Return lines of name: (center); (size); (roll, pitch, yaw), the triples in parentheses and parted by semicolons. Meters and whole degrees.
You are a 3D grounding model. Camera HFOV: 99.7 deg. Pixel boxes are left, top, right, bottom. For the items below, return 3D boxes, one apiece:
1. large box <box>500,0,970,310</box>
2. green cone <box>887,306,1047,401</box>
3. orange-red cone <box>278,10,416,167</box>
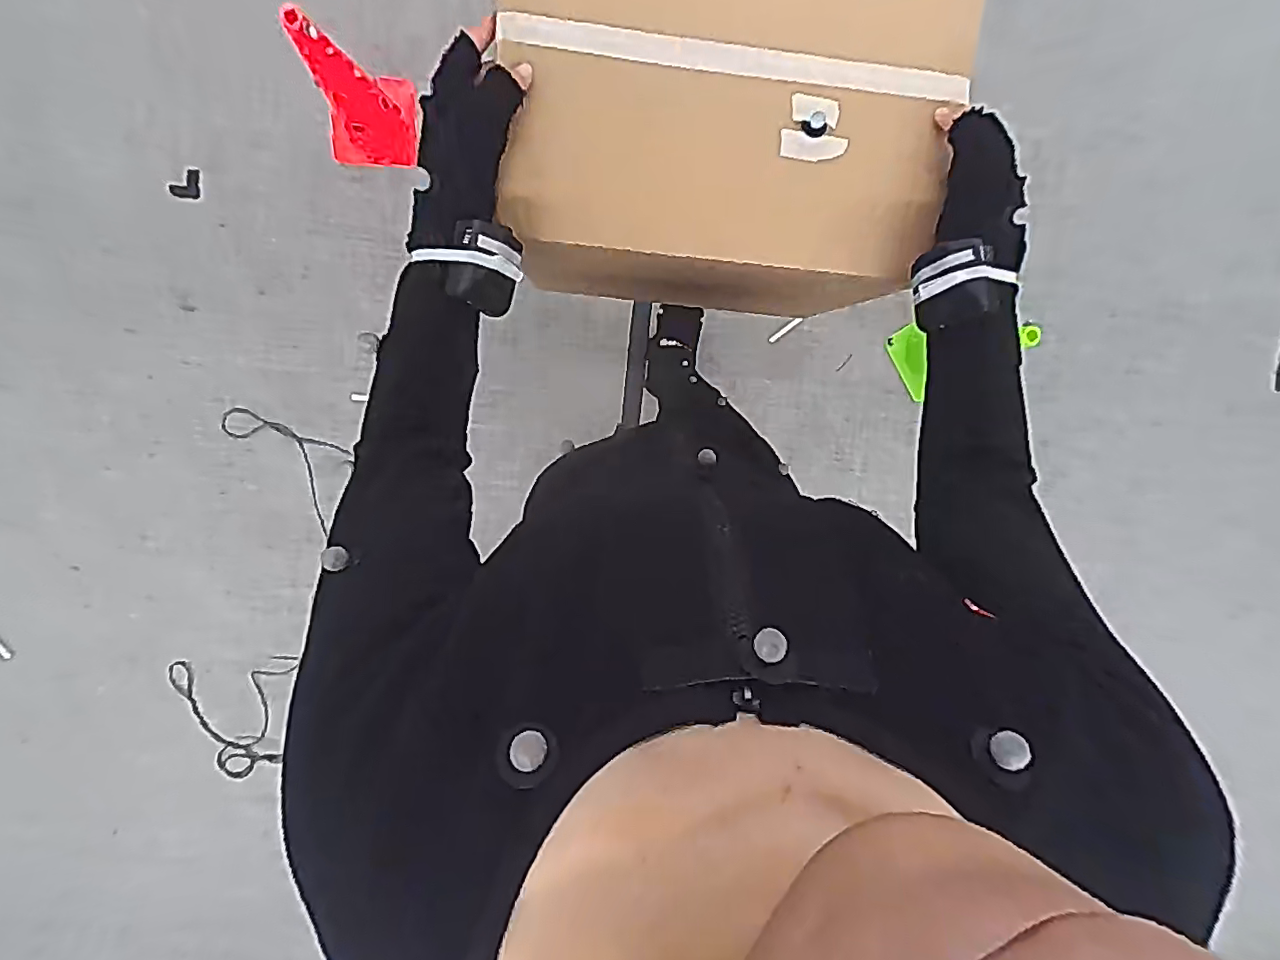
large box: (0.069, -0.383, 0.608); (0.408, 0.320, 0.320); (4, 101, -6)
green cone: (0.806, -0.322, 1.296); (0.202, 0.368, 0.200); (-33, 99, -1)
orange-red cone: (-0.633, -0.840, 1.135); (0.198, 0.360, 0.199); (2, 99, -3)
